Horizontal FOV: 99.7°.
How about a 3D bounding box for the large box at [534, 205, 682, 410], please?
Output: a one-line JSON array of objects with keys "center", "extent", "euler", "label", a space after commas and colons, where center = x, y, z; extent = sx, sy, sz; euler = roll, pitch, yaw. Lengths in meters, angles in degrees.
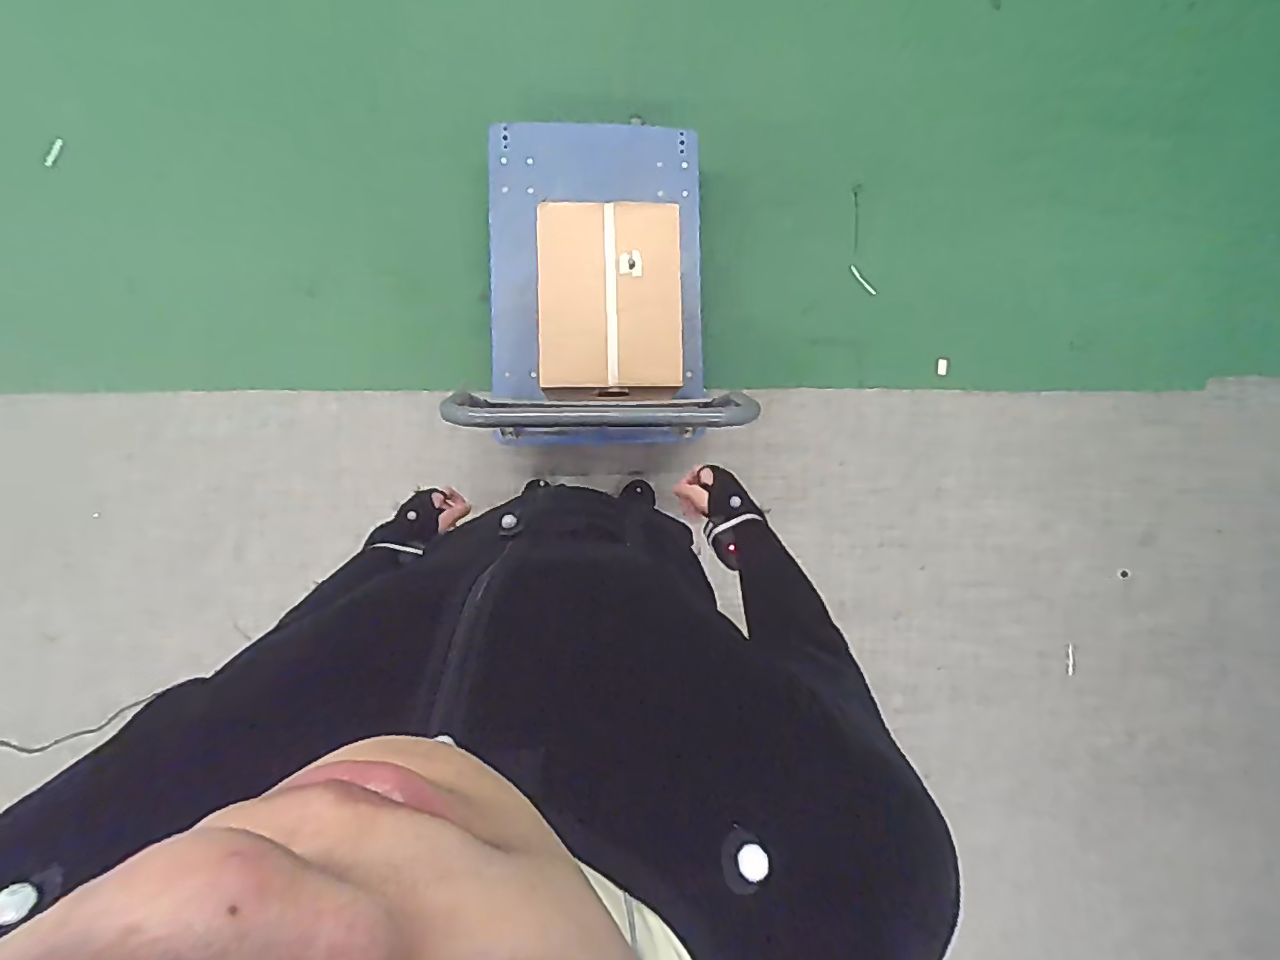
[{"center": [-0.079, -0.395, 1.325], "extent": [0.320, 0.320, 0.408], "euler": [-1, 88, -5], "label": "large box"}]
